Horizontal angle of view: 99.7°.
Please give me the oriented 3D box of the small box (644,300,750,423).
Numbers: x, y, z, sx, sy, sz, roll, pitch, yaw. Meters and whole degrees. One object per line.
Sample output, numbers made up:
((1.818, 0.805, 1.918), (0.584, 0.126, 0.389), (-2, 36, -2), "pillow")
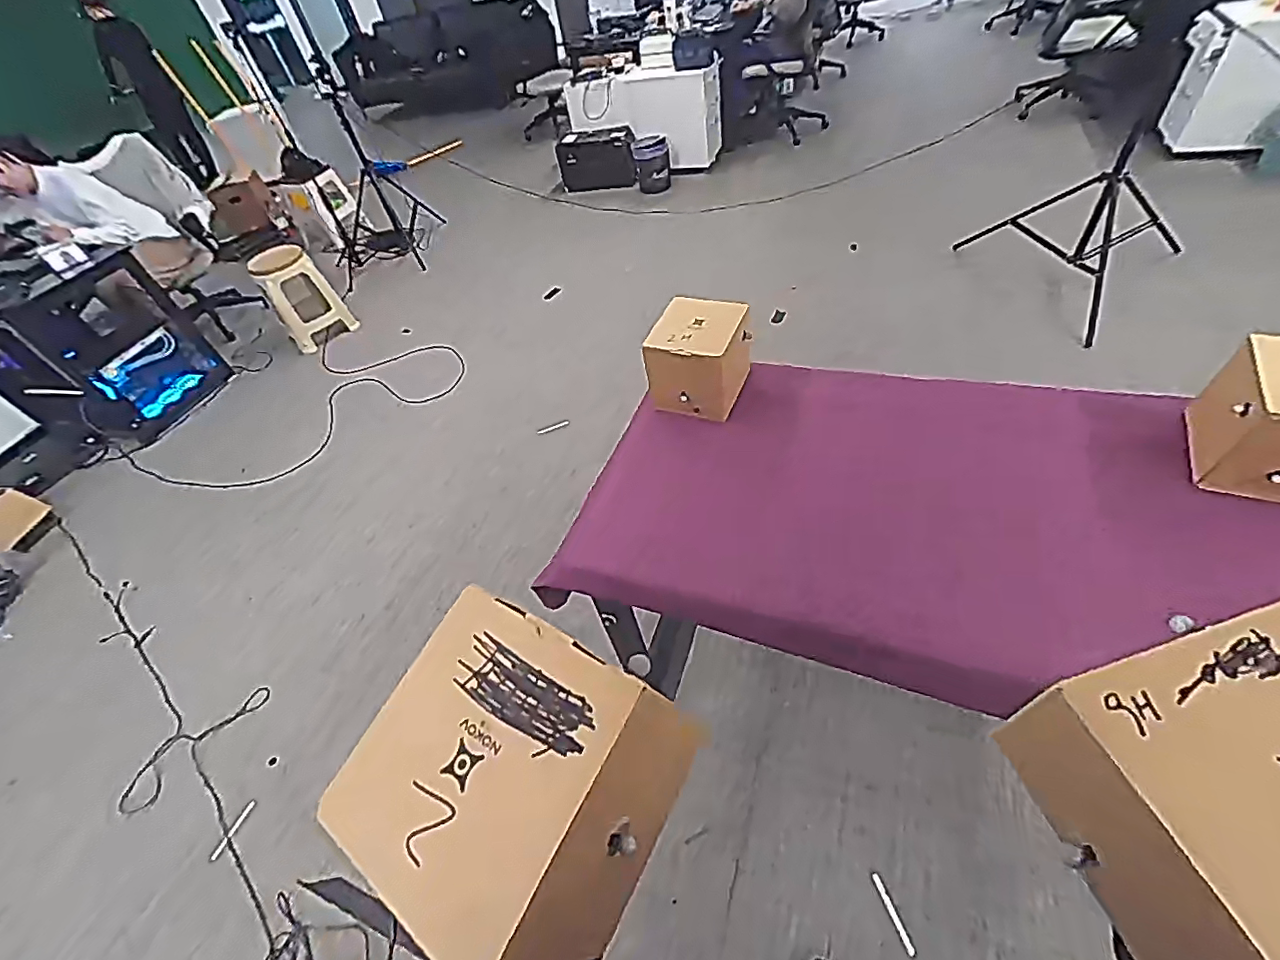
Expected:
((0.125, -0.248, 1.129), (0.168, 0.176, 0.179), (14, 55, 22), "small box")

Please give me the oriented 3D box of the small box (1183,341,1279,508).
((0.966, -0.078, 0.808), (0.168, 0.176, 0.179), (14, 57, 23), "small box")

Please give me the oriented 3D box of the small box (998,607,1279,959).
((0.377, 0.208, 0.346), (0.168, 0.176, 0.179), (-21, 53, 3), "small box")
